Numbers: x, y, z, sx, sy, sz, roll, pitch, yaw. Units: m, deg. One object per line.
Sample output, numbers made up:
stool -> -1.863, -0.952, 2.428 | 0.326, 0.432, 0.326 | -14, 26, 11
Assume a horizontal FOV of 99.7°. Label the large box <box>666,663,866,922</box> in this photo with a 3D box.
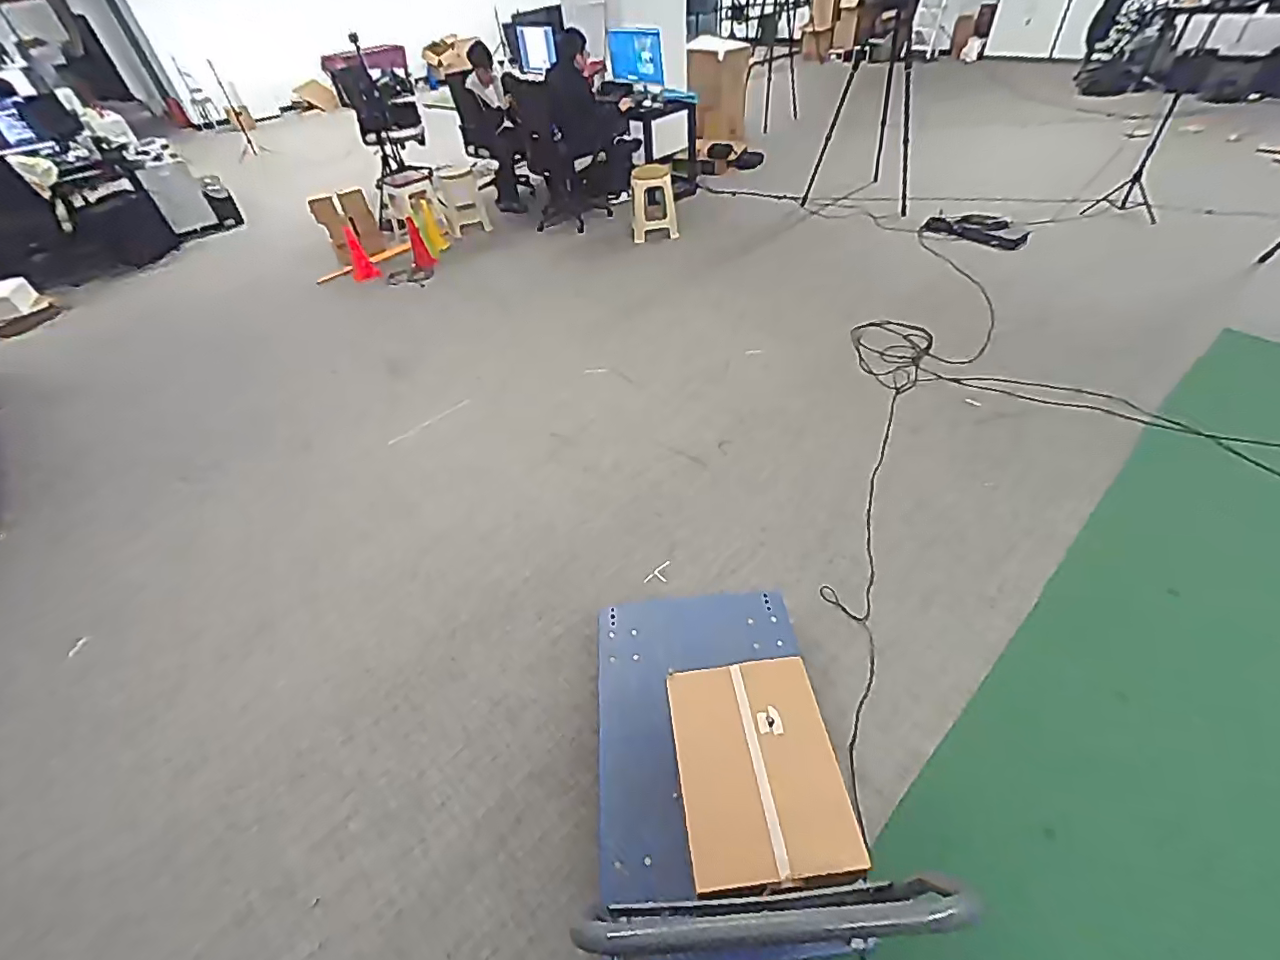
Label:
large box -> 0.245, 0.684, 1.200 | 0.320, 0.320, 0.408 | -7, 43, -2
